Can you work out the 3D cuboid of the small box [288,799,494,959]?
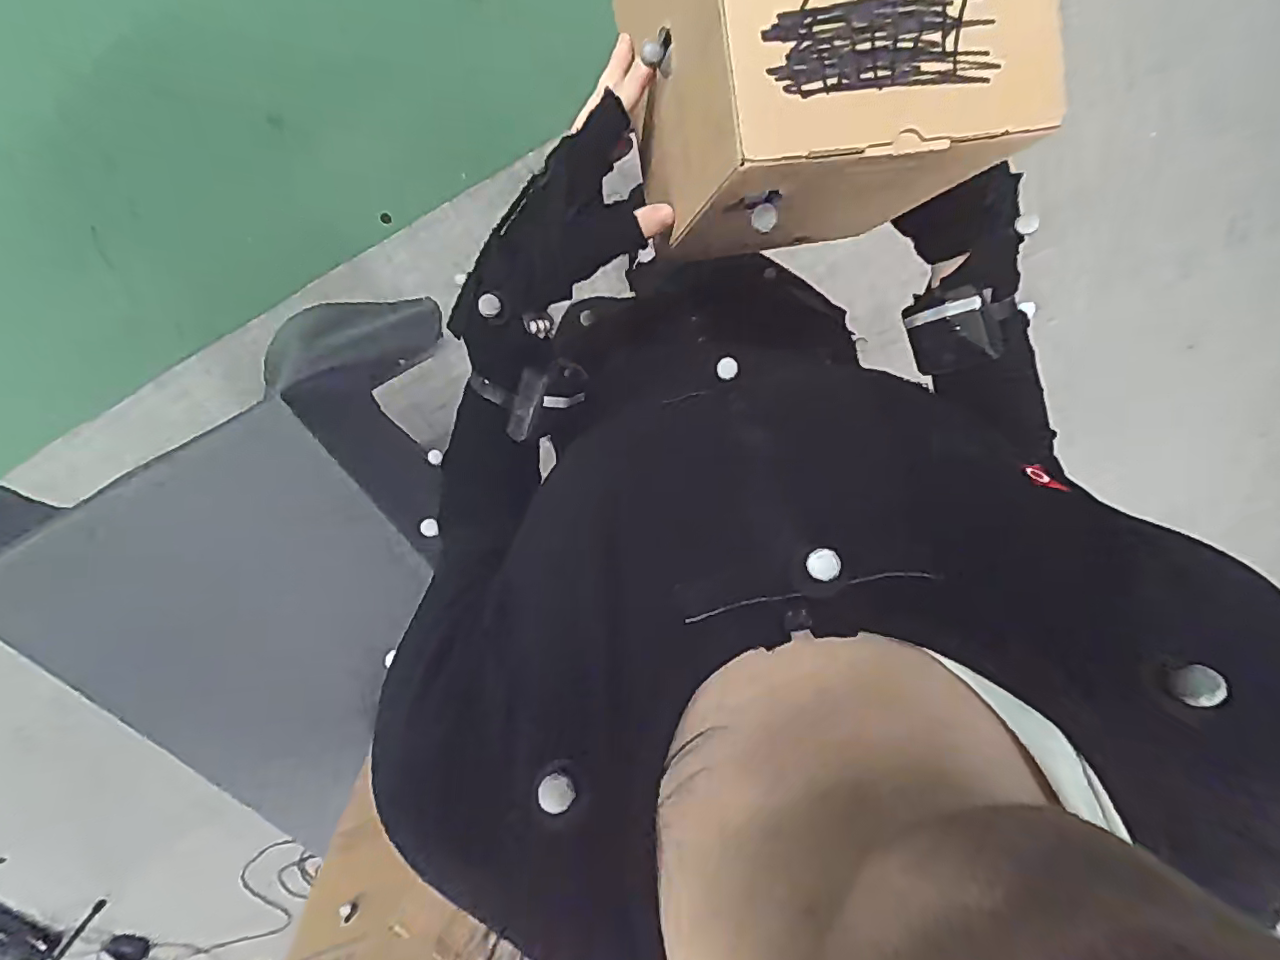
[{"bbox_3d":[-0.331,0.593,0.759,0.179,0.176,0.168,-27,114,8],"label":"small box"}]

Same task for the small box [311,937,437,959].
[{"bbox_3d":[-0.318,0.661,0.610,0.168,0.176,0.179,-25,114,8],"label":"small box"}]
